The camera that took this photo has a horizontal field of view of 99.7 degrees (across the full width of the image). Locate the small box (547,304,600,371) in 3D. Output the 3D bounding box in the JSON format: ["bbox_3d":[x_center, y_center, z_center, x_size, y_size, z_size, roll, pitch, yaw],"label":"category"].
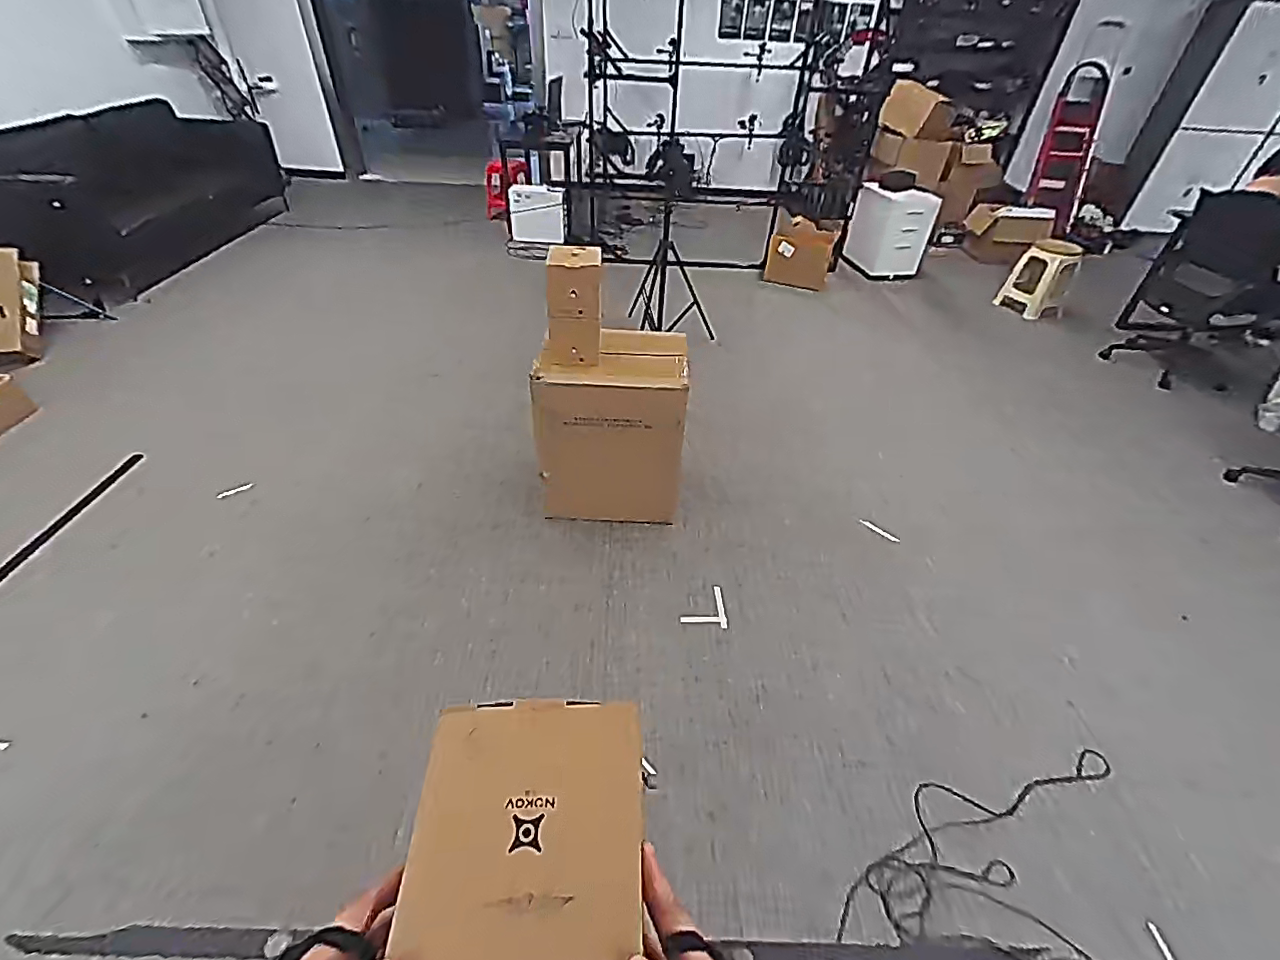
[{"bbox_3d":[-0.224,-0.491,1.845,0.168,0.176,0.179,2,41,-3],"label":"small box"}]

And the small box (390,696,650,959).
[{"bbox_3d":[-0.076,0.299,0.451,0.168,0.176,0.179,-1,49,0],"label":"small box"}]

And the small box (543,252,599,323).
[{"bbox_3d":[-0.217,-0.617,1.740,0.168,0.176,0.179,1,41,-4],"label":"small box"}]
